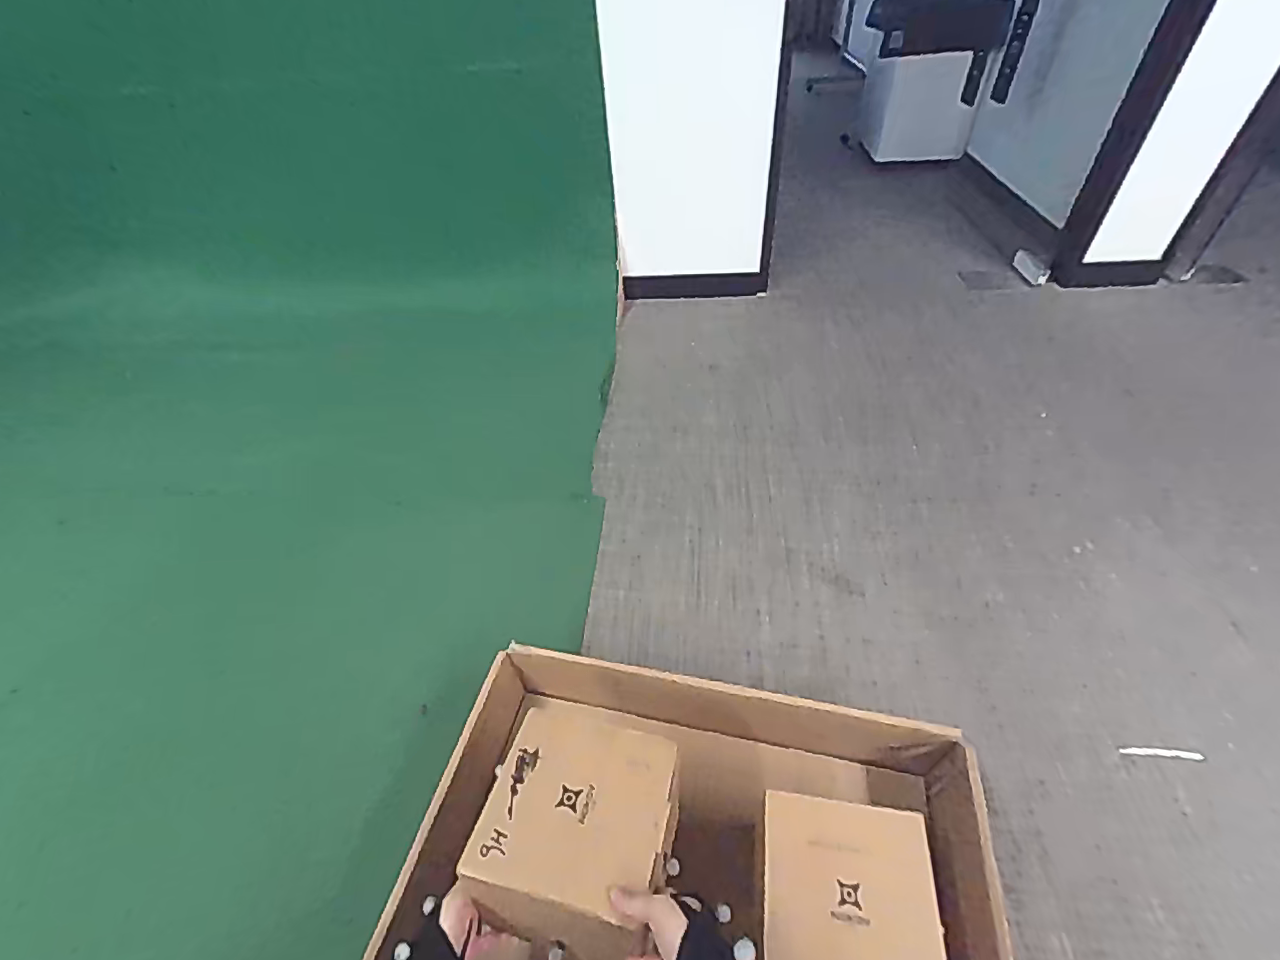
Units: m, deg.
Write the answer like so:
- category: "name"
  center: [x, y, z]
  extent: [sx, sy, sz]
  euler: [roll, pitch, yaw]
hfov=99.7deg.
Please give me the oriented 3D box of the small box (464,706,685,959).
- category: "small box"
  center: [-0.055, 0.380, 0.579]
  extent: [0.179, 0.176, 0.168]
  euler: [9, 38, 13]
